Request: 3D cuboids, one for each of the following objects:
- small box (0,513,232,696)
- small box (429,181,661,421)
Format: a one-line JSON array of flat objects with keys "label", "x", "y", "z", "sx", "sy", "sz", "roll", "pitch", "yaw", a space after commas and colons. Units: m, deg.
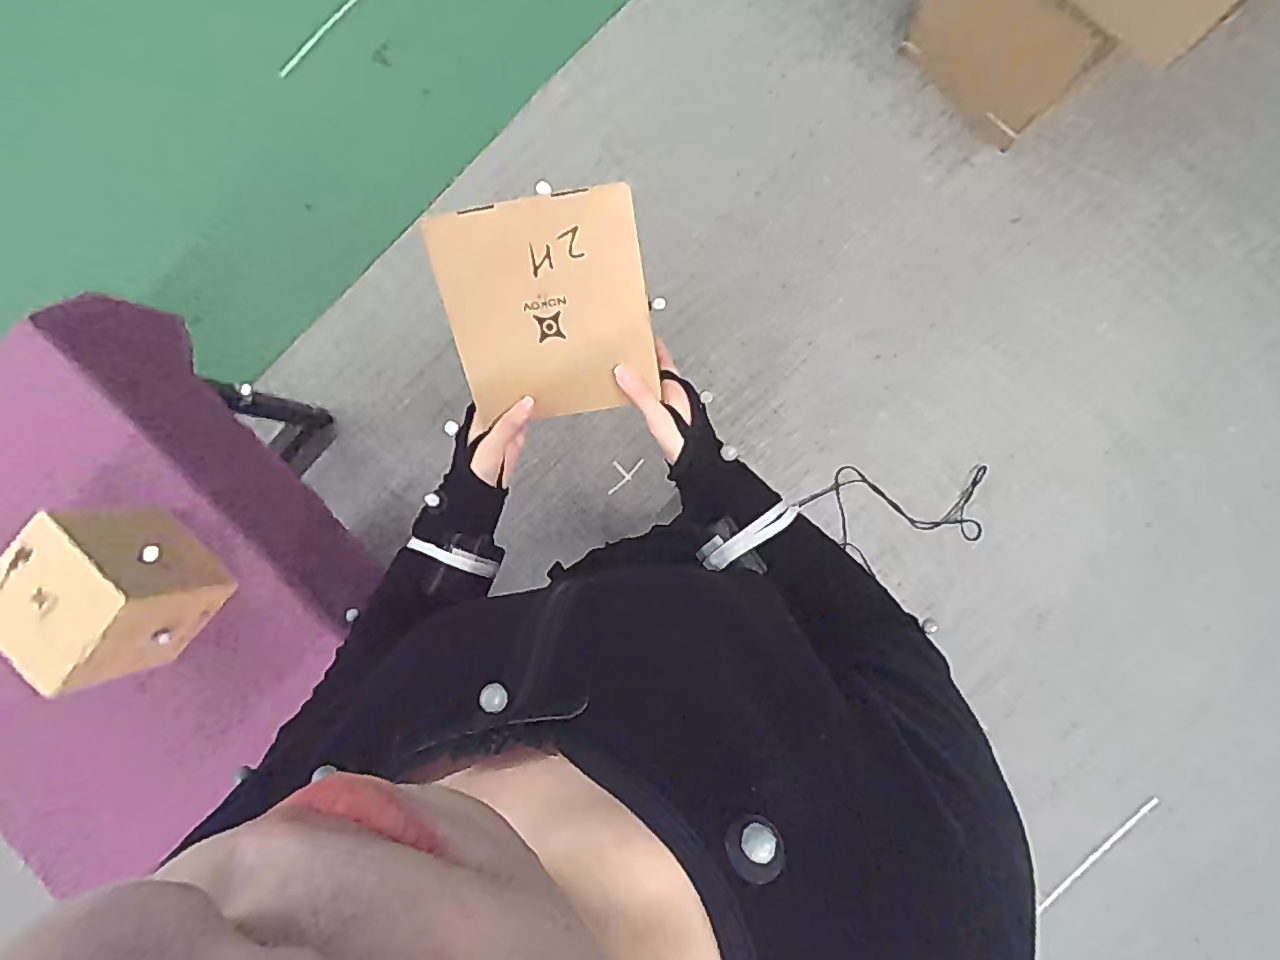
[{"label": "small box", "x": -0.736, "y": 0.157, "z": 0.758, "sx": 0.179, "sy": 0.176, "sz": 0.168, "roll": 42, "pitch": 91, "yaw": 5}, {"label": "small box", "x": -0.070, "y": -0.174, "z": 0.517, "sx": 0.168, "sy": 0.176, "sz": 0.179, "roll": -7, "pitch": 115, "yaw": 3}]
